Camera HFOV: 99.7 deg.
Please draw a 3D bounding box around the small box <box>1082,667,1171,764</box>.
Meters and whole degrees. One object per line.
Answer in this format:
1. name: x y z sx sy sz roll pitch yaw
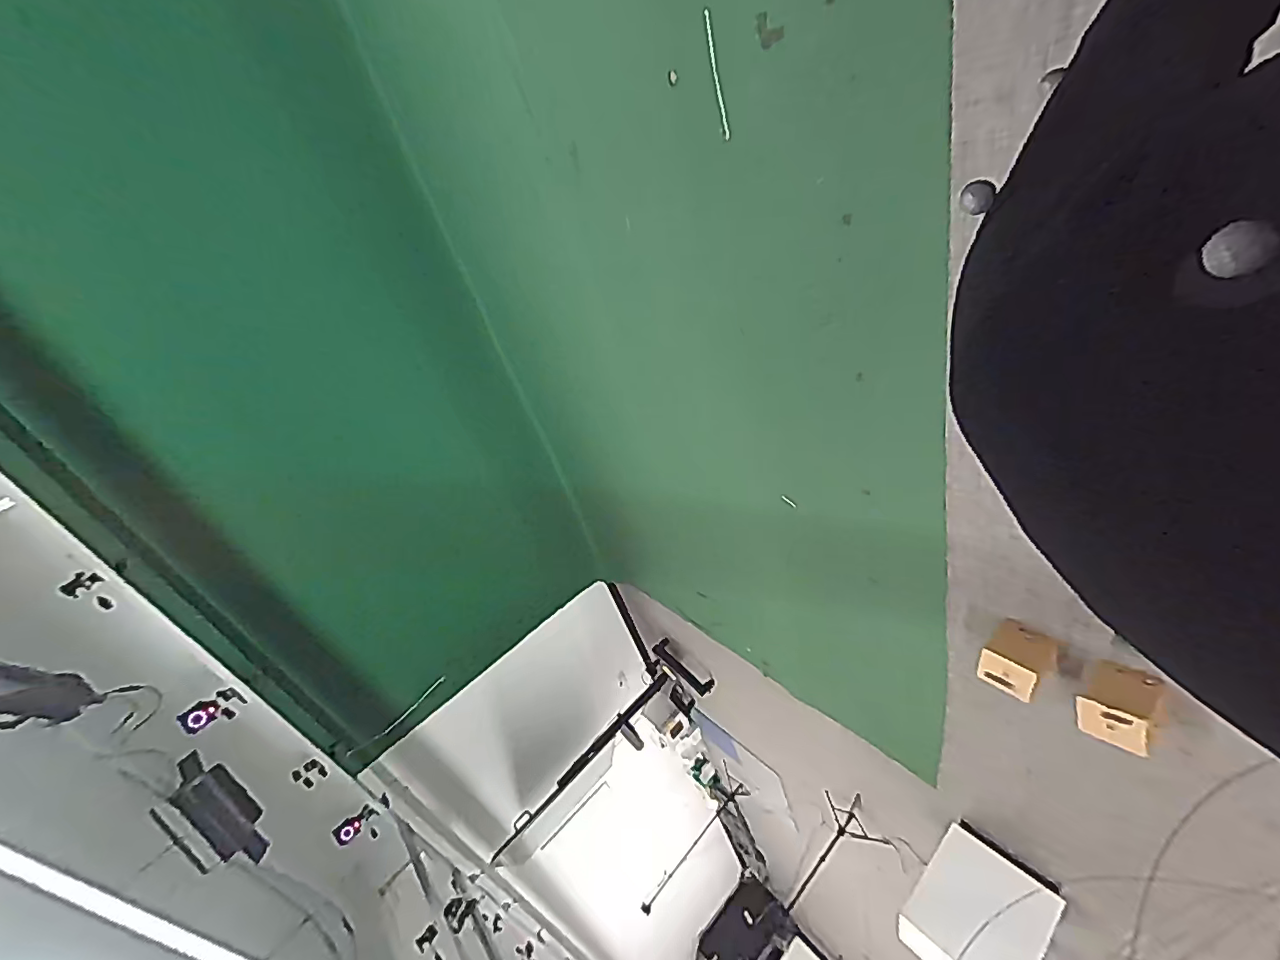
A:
1. small box: 1.483 0.710 1.650 0.168 0.176 0.179 15 135 54
